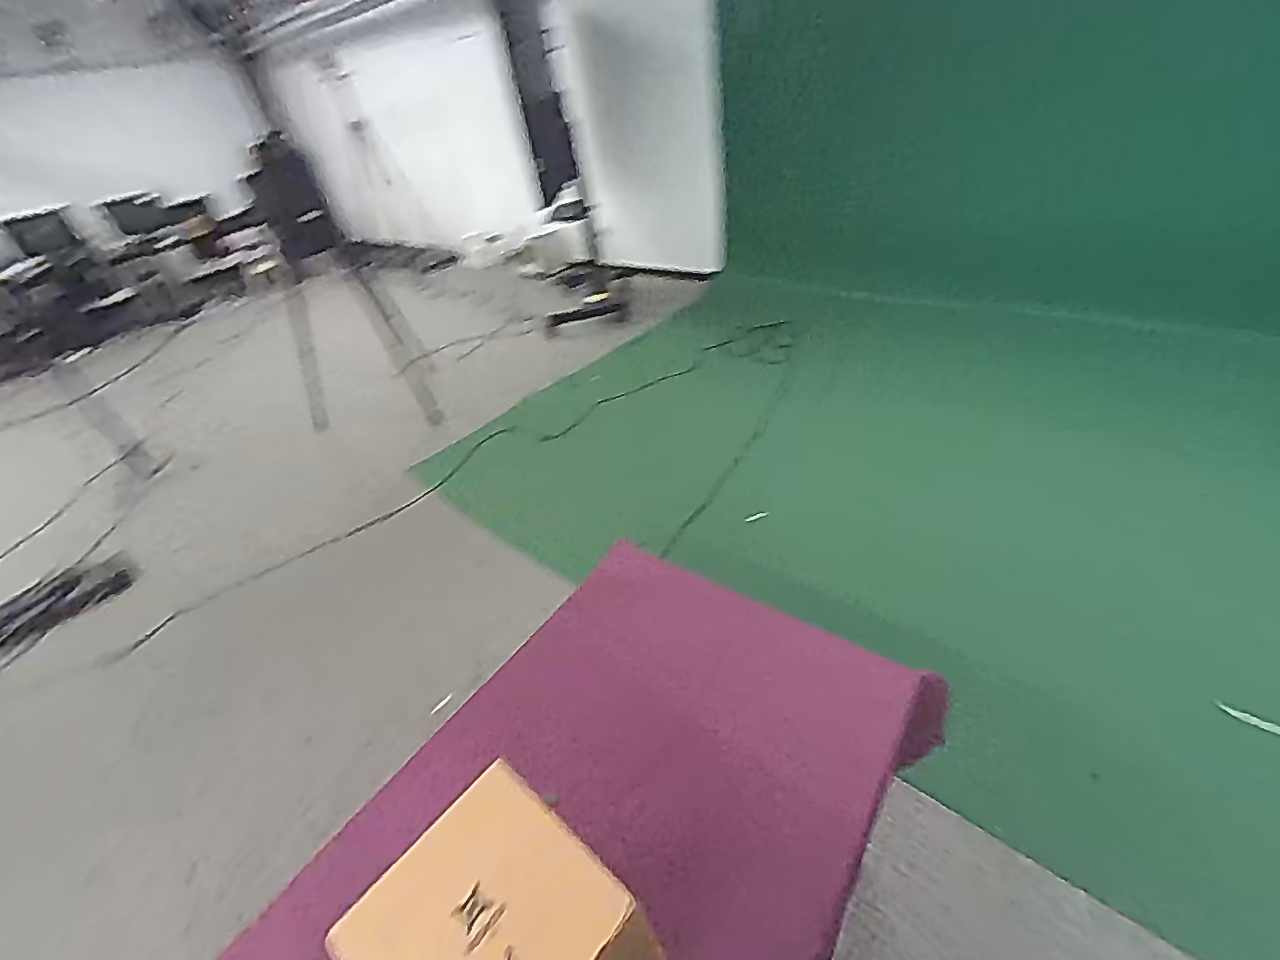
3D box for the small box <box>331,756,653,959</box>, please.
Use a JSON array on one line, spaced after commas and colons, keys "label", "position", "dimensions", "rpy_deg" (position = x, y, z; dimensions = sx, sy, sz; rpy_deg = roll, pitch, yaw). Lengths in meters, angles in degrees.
[{"label": "small box", "position": [-0.110, 0.385, 0.453], "dimensions": [0.179, 0.176, 0.168], "rpy_deg": [23, 49, 36]}]
